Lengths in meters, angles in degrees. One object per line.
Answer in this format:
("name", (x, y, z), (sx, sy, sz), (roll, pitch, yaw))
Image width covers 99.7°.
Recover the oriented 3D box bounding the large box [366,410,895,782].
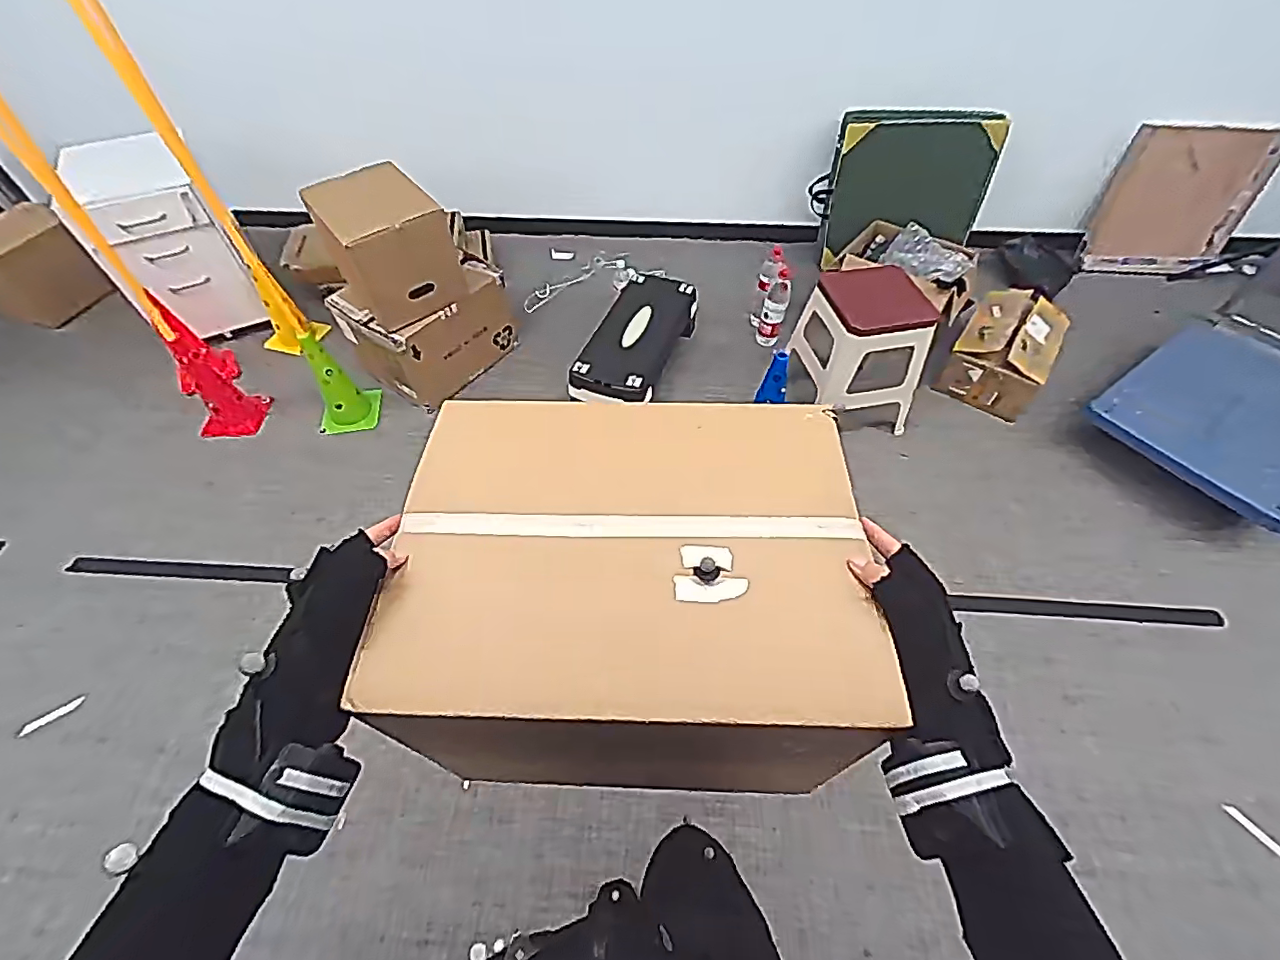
("large box", (-0.005, 0.138, 0.607), (0.408, 0.320, 0.320), (1, 52, 2))
